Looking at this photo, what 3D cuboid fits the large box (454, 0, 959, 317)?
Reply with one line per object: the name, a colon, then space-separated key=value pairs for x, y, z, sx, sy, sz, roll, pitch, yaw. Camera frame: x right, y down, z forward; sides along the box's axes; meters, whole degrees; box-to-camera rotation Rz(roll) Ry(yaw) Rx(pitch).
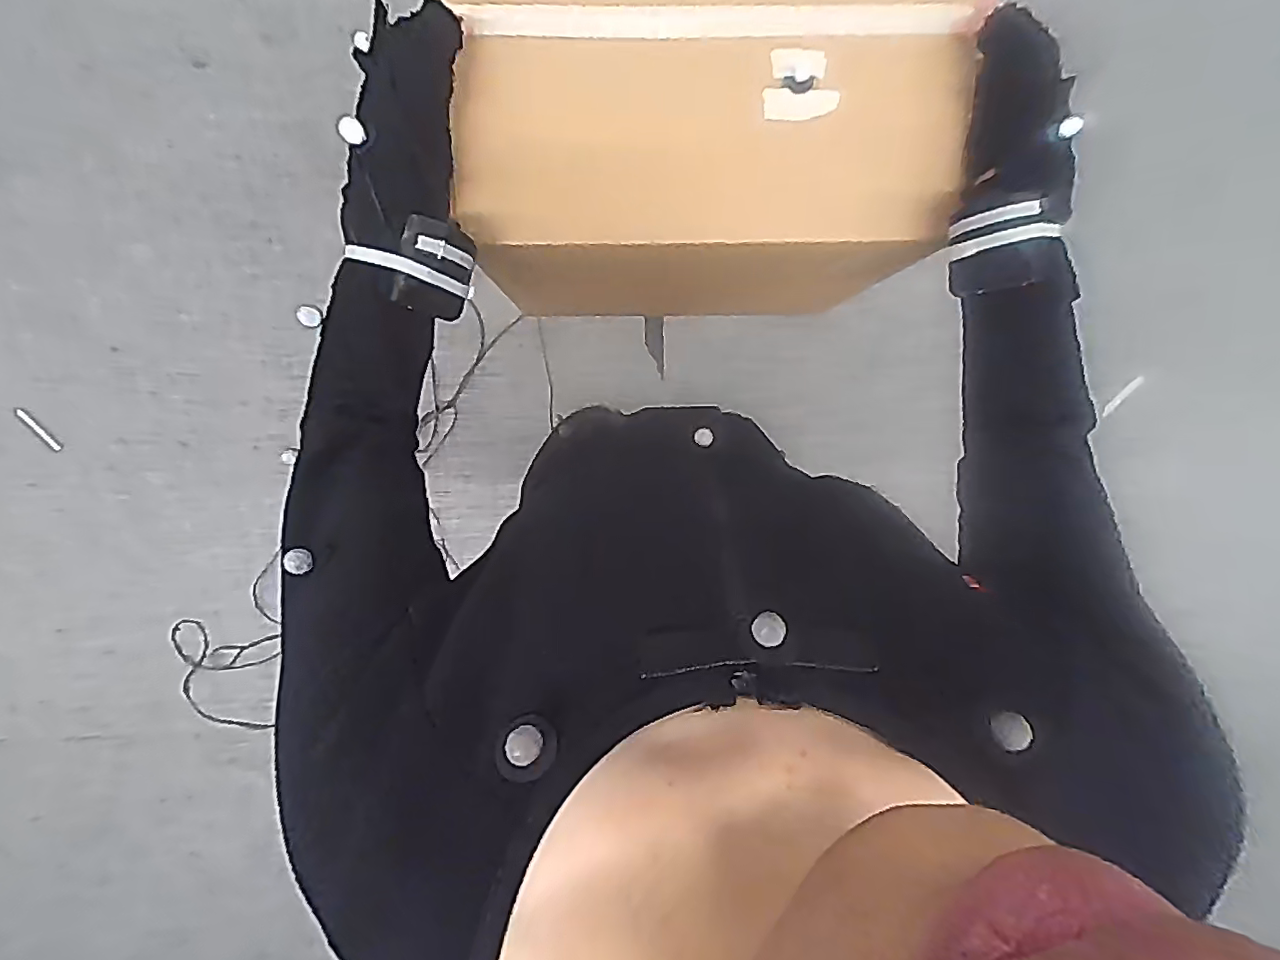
large box: x=0.048 y=-0.364 z=0.573 sx=0.408 sy=0.320 sz=0.320 roll=-1 pitch=96 yaw=-2
